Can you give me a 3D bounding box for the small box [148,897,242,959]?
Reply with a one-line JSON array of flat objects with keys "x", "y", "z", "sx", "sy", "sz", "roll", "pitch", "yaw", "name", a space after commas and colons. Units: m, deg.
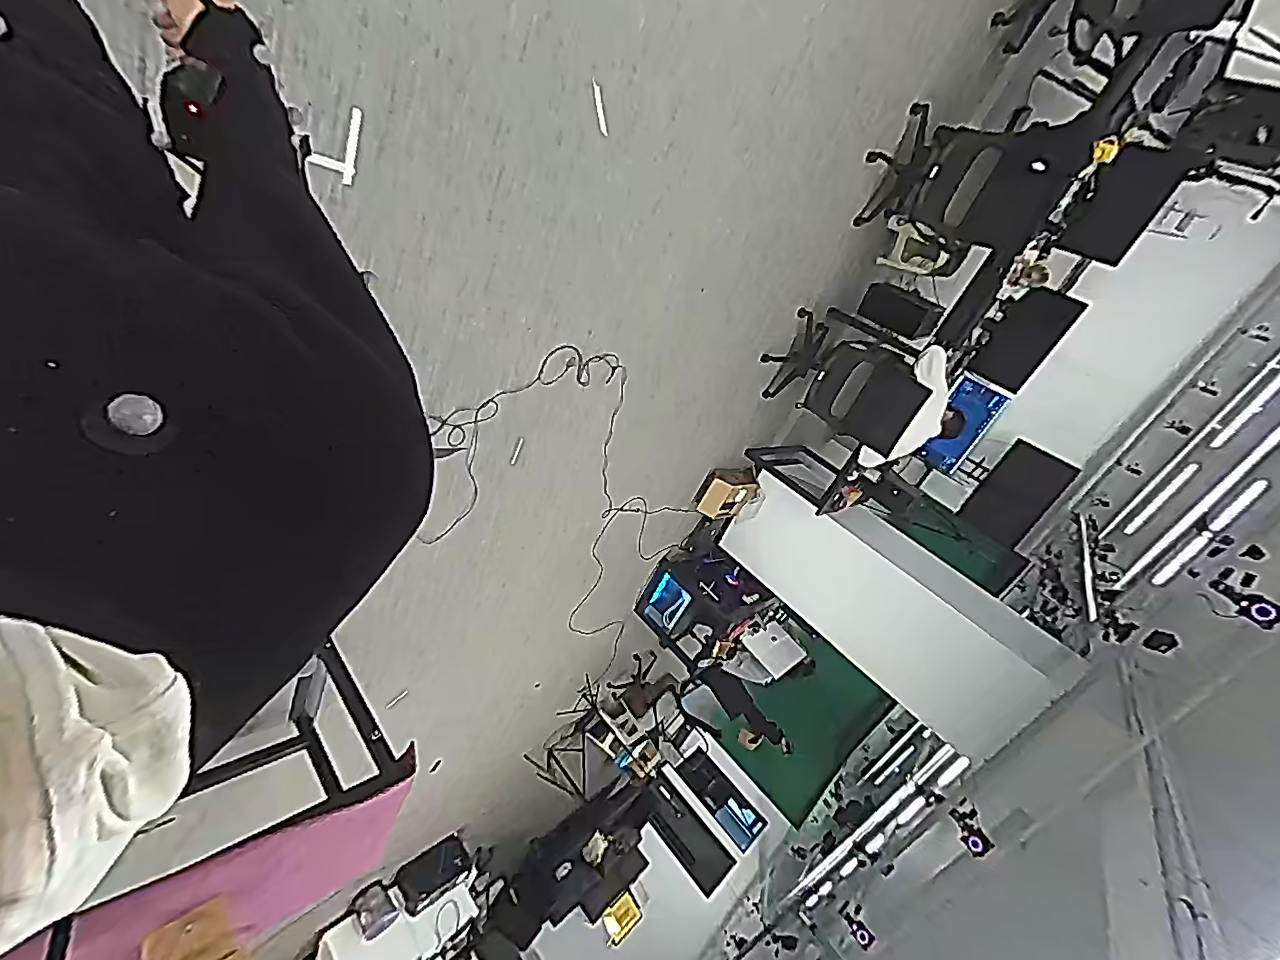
[{"x": -1.228, "y": 1.314, "z": 1.488, "sx": 0.179, "sy": 0.176, "sz": 0.168, "roll": -8, "pitch": 133, "yaw": -49, "name": "small box"}]
